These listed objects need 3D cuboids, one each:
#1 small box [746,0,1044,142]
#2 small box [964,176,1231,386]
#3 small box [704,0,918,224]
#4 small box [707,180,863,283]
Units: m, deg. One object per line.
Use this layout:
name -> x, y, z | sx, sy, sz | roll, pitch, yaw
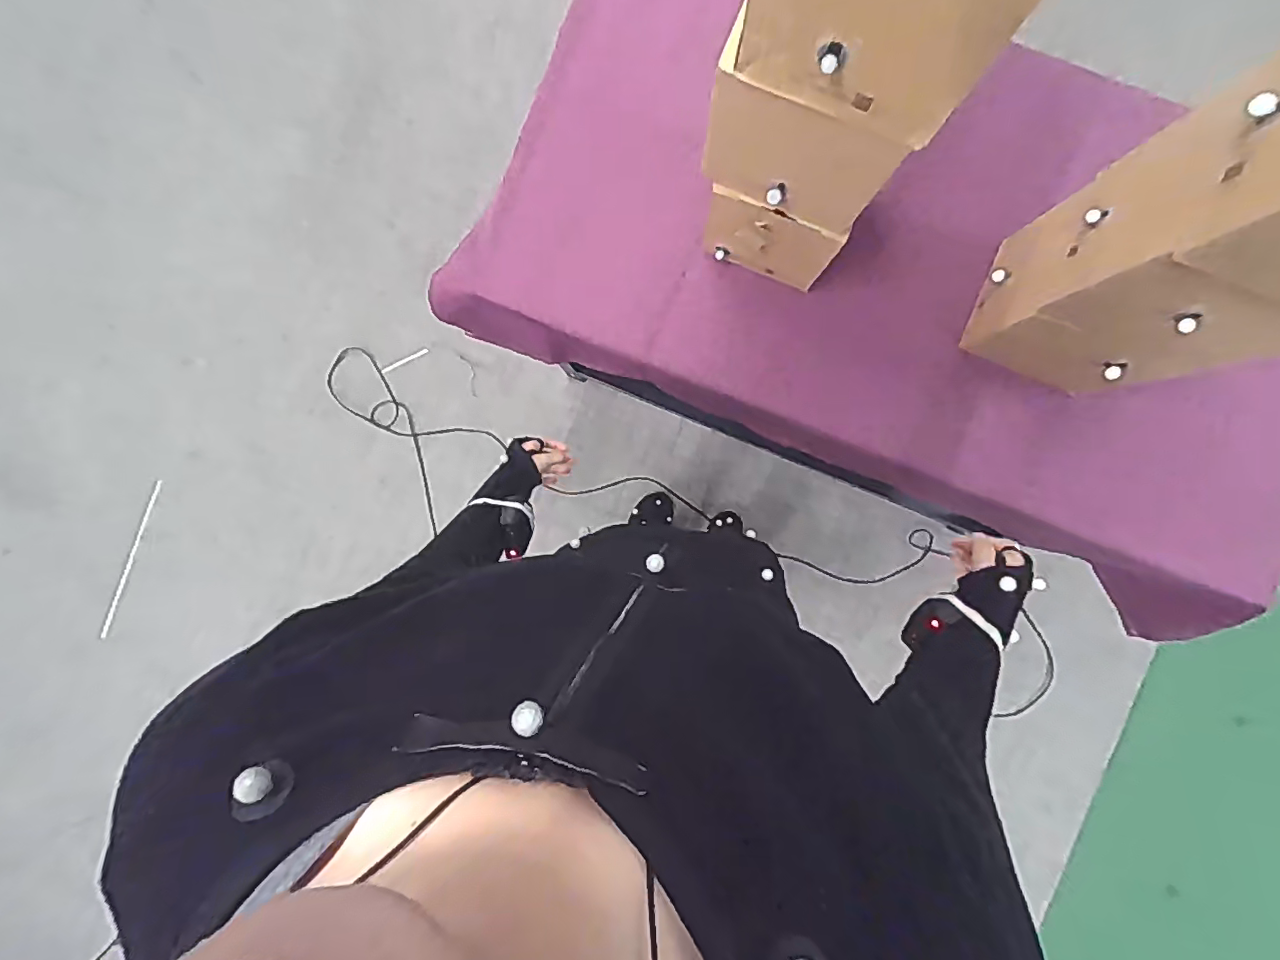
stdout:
small box -> 0.183, -0.377, 0.356 | 0.168, 0.176, 0.179 | 22, 92, 2
small box -> 0.556, -0.228, 0.672 | 0.179, 0.176, 0.168 | 23, 91, 1
small box -> 0.176, -0.378, 0.519 | 0.179, 0.176, 0.168 | 23, 91, 1
small box -> 0.192, -0.378, 0.683 | 0.168, 0.176, 0.179 | 22, 91, 1
